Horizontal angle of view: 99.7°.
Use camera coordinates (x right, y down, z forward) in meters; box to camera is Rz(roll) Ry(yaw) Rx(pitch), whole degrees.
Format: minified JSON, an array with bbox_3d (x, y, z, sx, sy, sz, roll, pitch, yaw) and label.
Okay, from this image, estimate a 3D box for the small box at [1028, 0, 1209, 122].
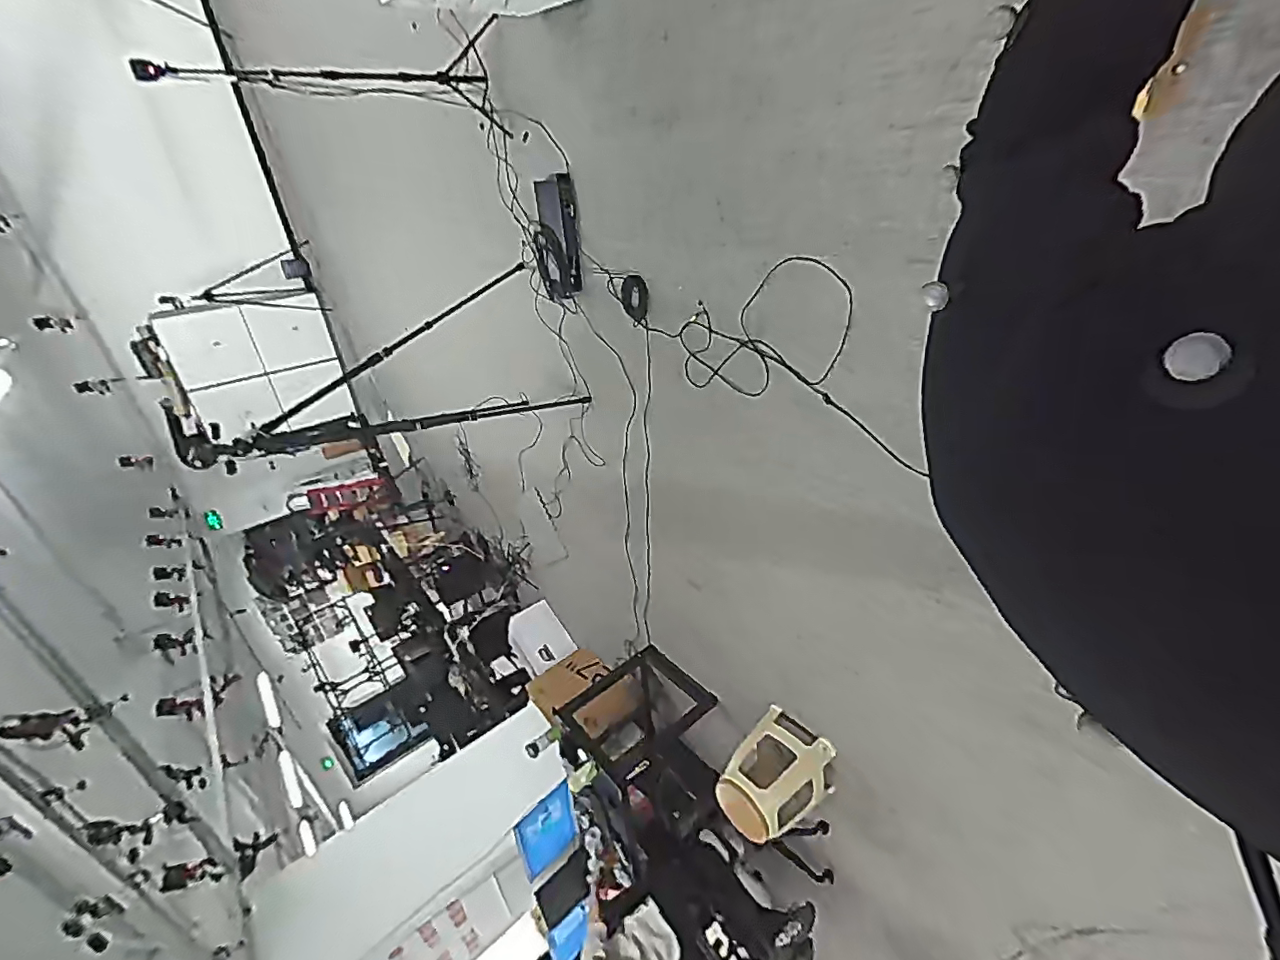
[{"bbox_3d":[0.834,-0.732,0.948,0.179,0.176,0.168,29,134,42],"label":"small box"}]
